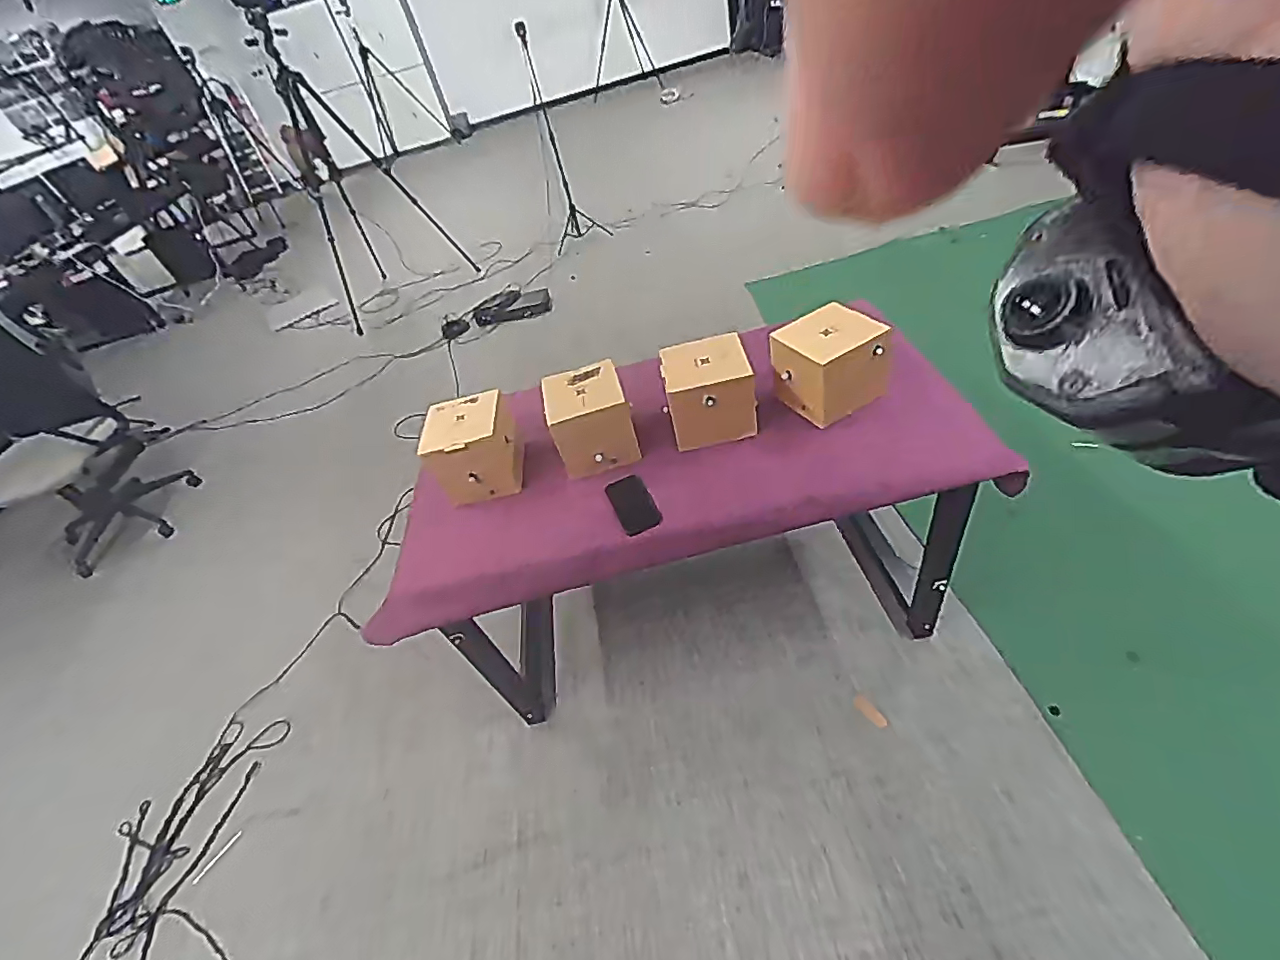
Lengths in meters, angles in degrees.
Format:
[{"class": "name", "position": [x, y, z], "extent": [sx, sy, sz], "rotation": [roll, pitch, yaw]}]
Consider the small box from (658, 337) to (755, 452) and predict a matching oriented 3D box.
[{"class": "small box", "position": [0.145, -0.180, 1.177], "extent": [0.179, 0.176, 0.168], "rotation": [-11, 44, 5]}]

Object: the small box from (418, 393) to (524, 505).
[{"class": "small box", "position": [-0.368, -0.062, 1.213], "extent": [0.168, 0.176, 0.179], "rotation": [-13, 44, 4]}]

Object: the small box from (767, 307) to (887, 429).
[{"class": "small box", "position": [0.397, -0.236, 1.155], "extent": [0.179, 0.176, 0.168], "rotation": [-28, 44, -12]}]

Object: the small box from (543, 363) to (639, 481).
[{"class": "small box", "position": [-0.108, -0.126, 1.198], "extent": [0.168, 0.176, 0.179], "rotation": [-17, 44, 0]}]
